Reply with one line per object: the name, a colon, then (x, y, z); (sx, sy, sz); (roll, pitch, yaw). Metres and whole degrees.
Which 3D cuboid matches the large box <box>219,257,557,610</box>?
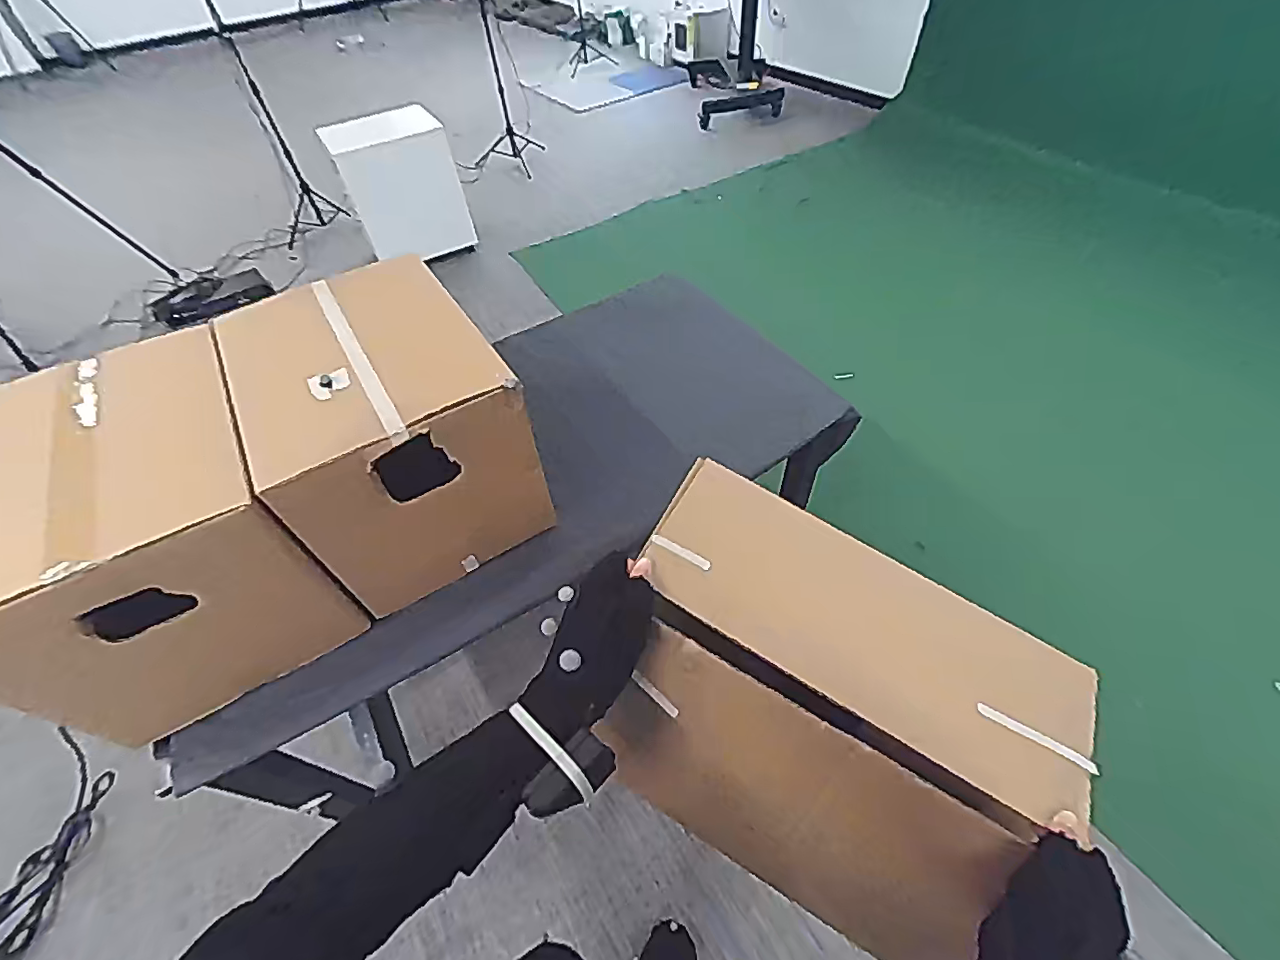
large box: (-0.377, -0.083, 0.854); (0.320, 0.320, 0.408); (-29, 56, -18)
